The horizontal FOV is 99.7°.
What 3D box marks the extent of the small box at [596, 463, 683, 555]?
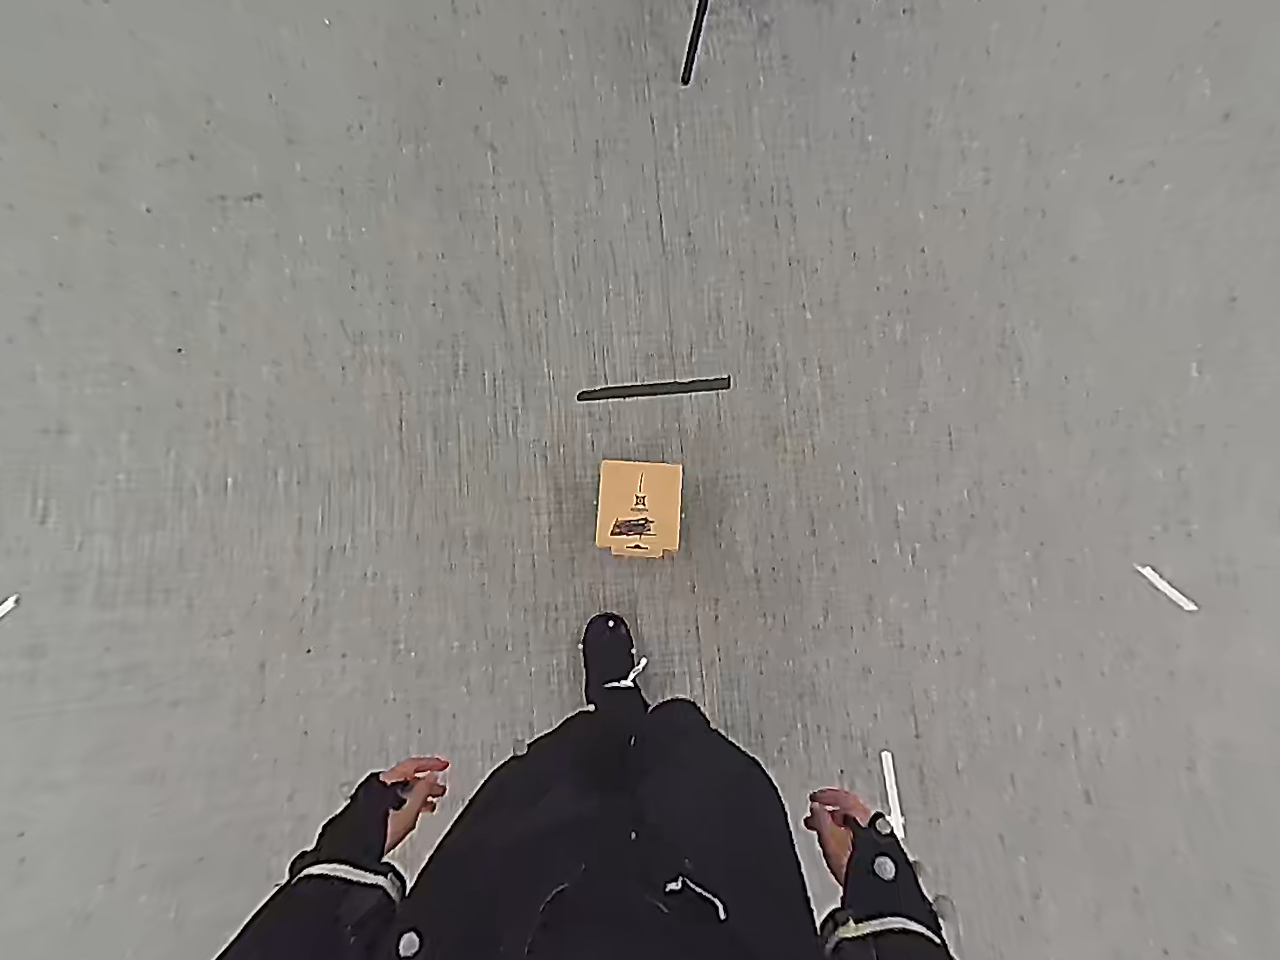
[{"bbox_3d":[0.000,0.069,1.152,0.168,0.176,0.179,3,81,-1],"label":"small box"}]
